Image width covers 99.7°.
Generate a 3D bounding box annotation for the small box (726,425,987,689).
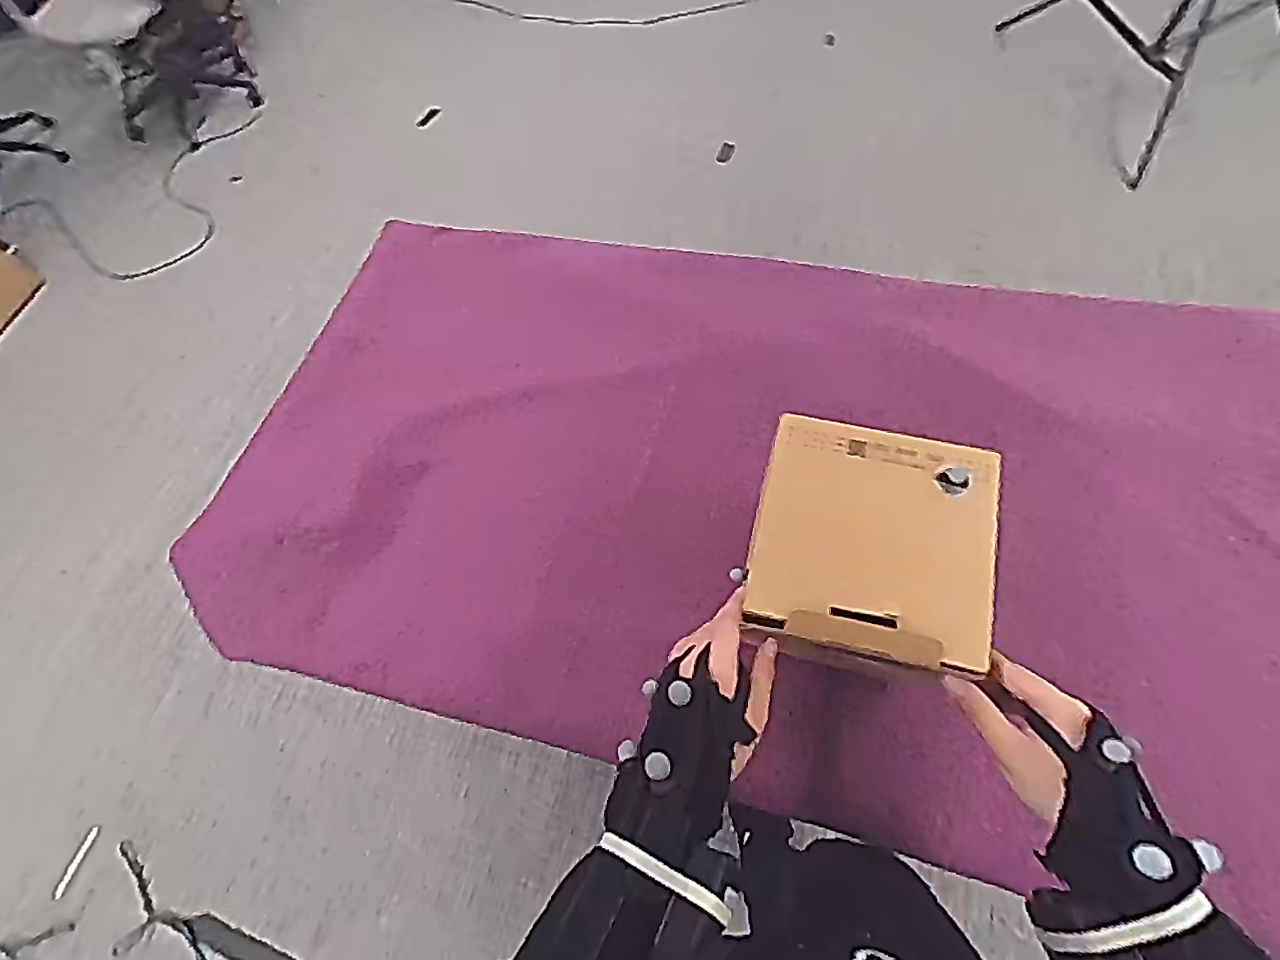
[{"bbox_3d":[0.177,0.071,0.475,0.168,0.179,0.176,13,69,11],"label":"small box"}]
